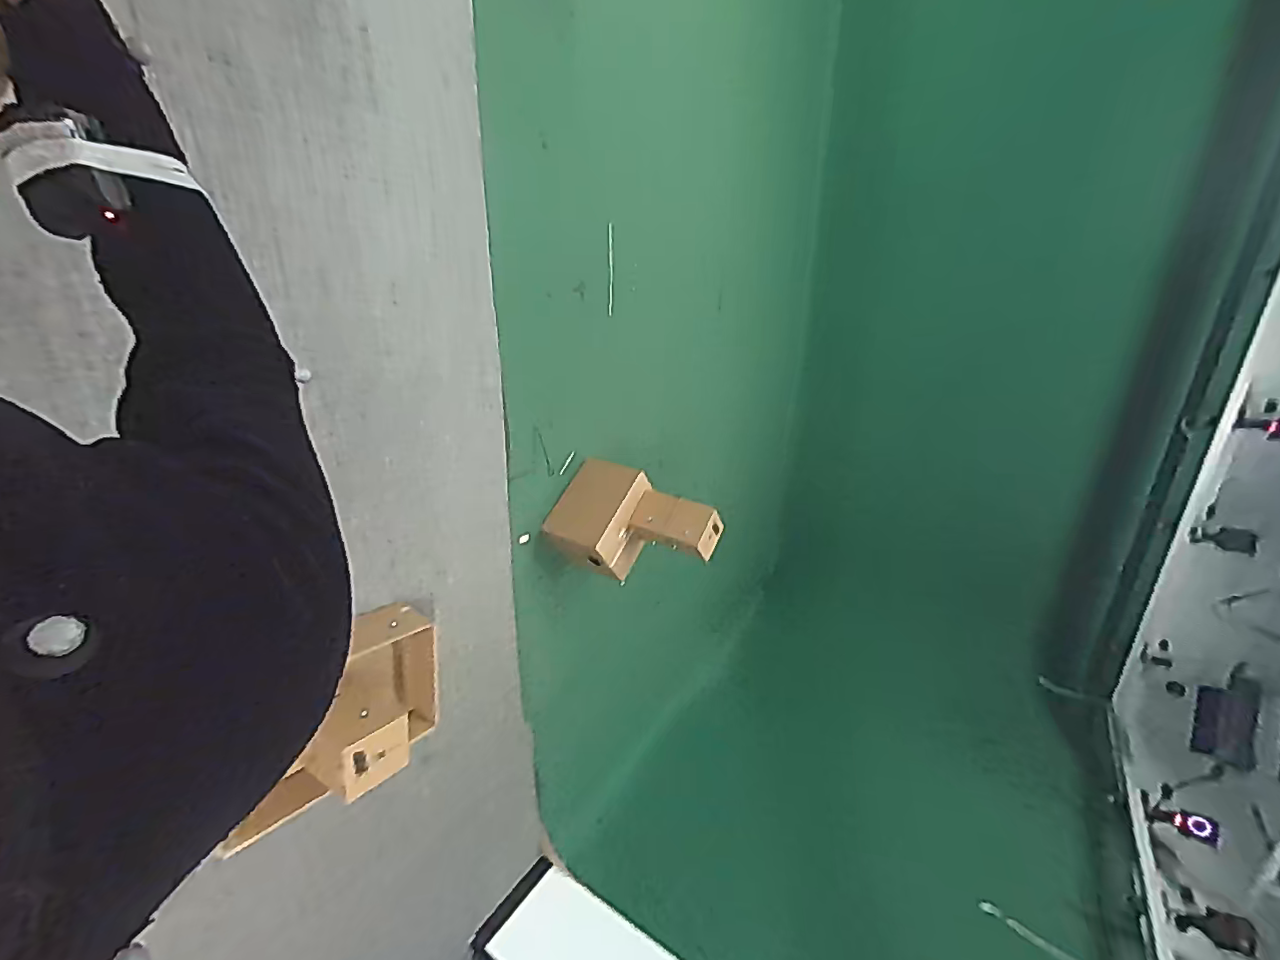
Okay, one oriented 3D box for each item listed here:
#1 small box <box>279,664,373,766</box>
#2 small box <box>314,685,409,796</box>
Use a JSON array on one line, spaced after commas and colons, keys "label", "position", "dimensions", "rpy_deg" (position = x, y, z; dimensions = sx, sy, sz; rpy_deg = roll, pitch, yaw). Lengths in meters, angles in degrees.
[{"label": "small box", "position": [-0.881, 0.652, 1.526], "dimensions": [0.179, 0.176, 0.168], "rpy_deg": [-18, 116, -54]}, {"label": "small box", "position": [-0.745, 0.684, 1.440], "dimensions": [0.179, 0.176, 0.168], "rpy_deg": [-17, 116, -55]}]
